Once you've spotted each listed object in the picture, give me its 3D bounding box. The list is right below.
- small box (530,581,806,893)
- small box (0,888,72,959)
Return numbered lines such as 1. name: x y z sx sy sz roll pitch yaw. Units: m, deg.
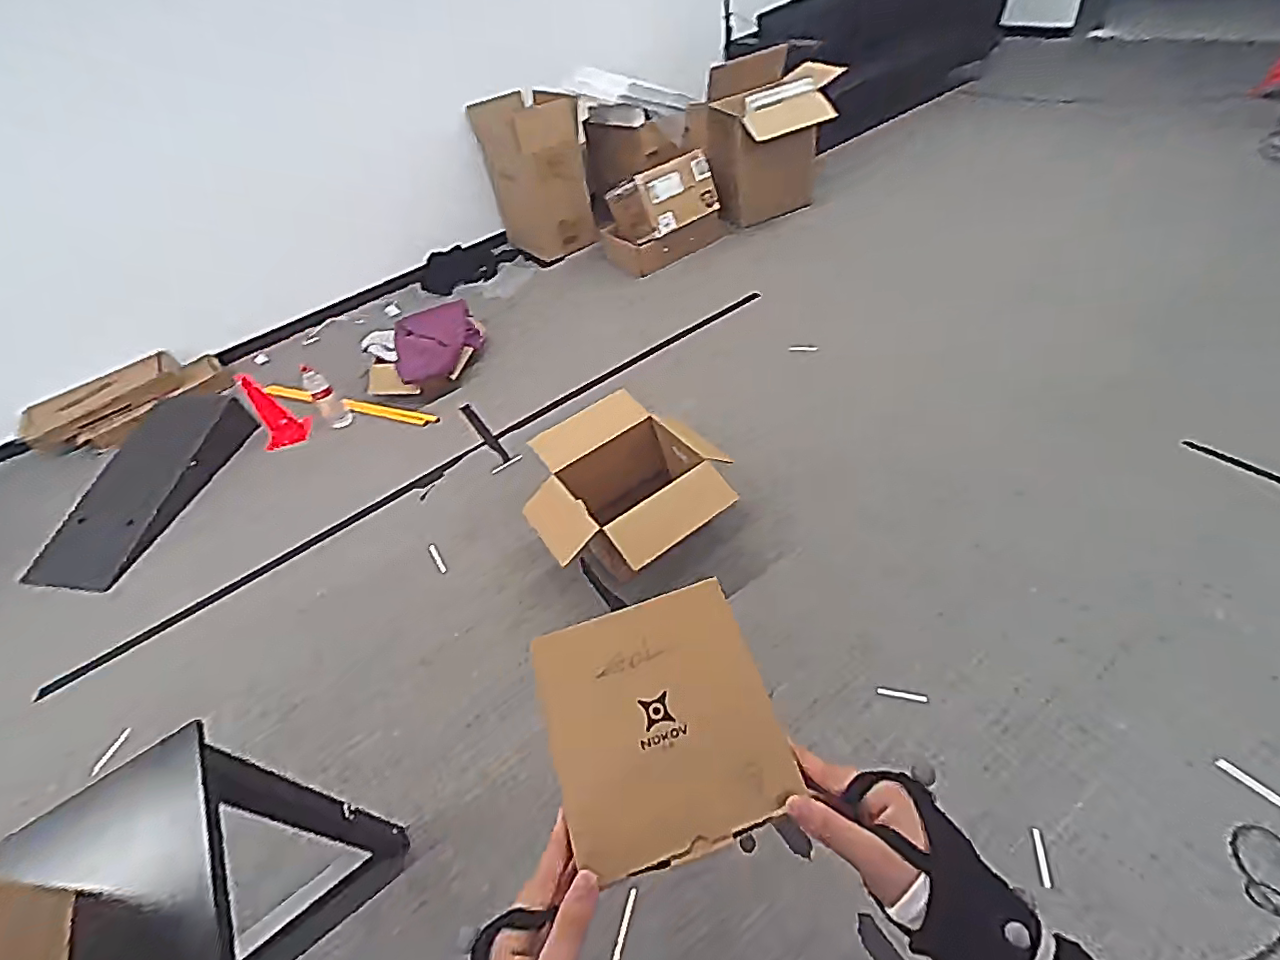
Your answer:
1. small box: 0.019 0.218 0.470 0.168 0.176 0.179 -17 58 -7
2. small box: -0.792 0.583 0.593 0.168 0.176 0.179 -31 50 -16
